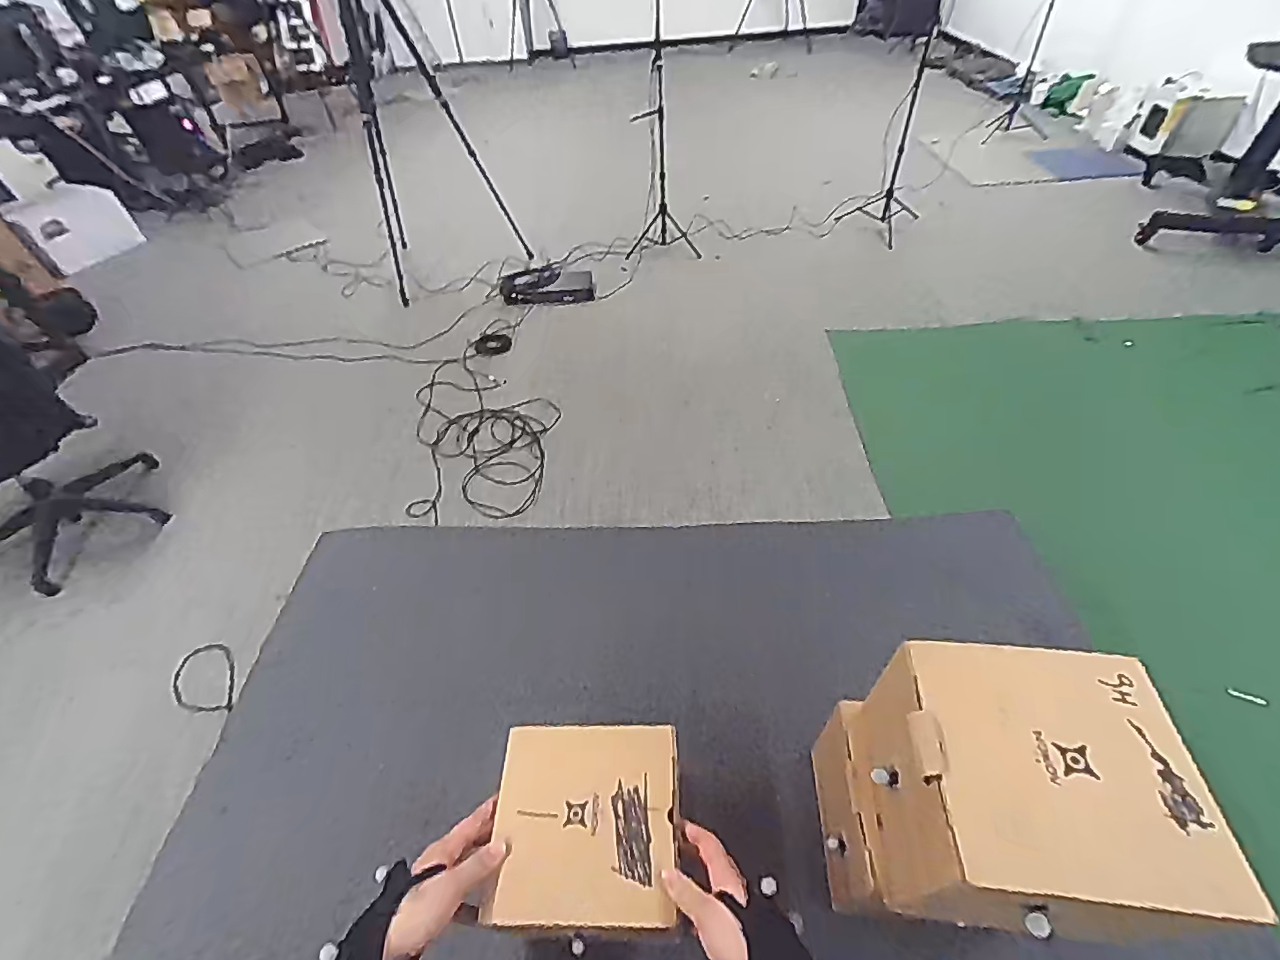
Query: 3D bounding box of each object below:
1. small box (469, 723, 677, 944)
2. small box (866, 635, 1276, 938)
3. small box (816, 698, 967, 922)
[{"bbox_3d":[-0.050,0.366,0.561,0.179,0.176,0.168,-3,46,4],"label":"small box"},{"bbox_3d":[0.290,0.241,0.426,0.179,0.176,0.168,2,47,7],"label":"small box"},{"bbox_3d":[0.288,0.341,0.558,0.179,0.176,0.168,1,48,4],"label":"small box"}]
